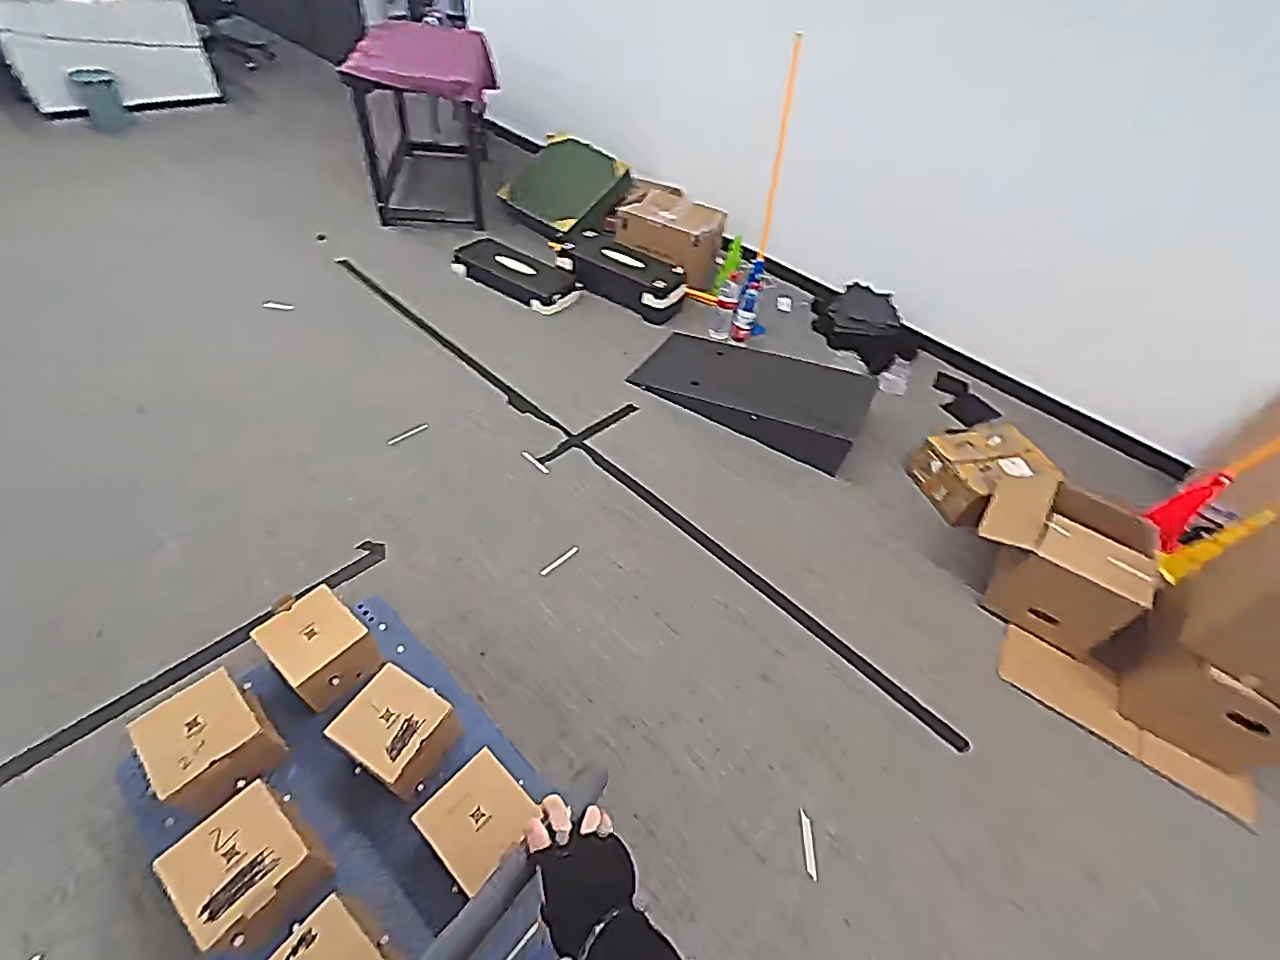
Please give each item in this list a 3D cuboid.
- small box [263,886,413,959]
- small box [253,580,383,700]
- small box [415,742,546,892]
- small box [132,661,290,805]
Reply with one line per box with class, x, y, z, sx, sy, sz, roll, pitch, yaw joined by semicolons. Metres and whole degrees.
small box;-0.490;0.801;0.868;0.179;0.176;0.168;35;51;19
small box;-0.711;0.365;1.214;0.179;0.176;0.168;35;52;20
small box;-0.298;0.650;1.040;0.179;0.176;0.168;37;53;22
small box;-0.835;0.501;1.068;0.179;0.176;0.168;39;54;21
